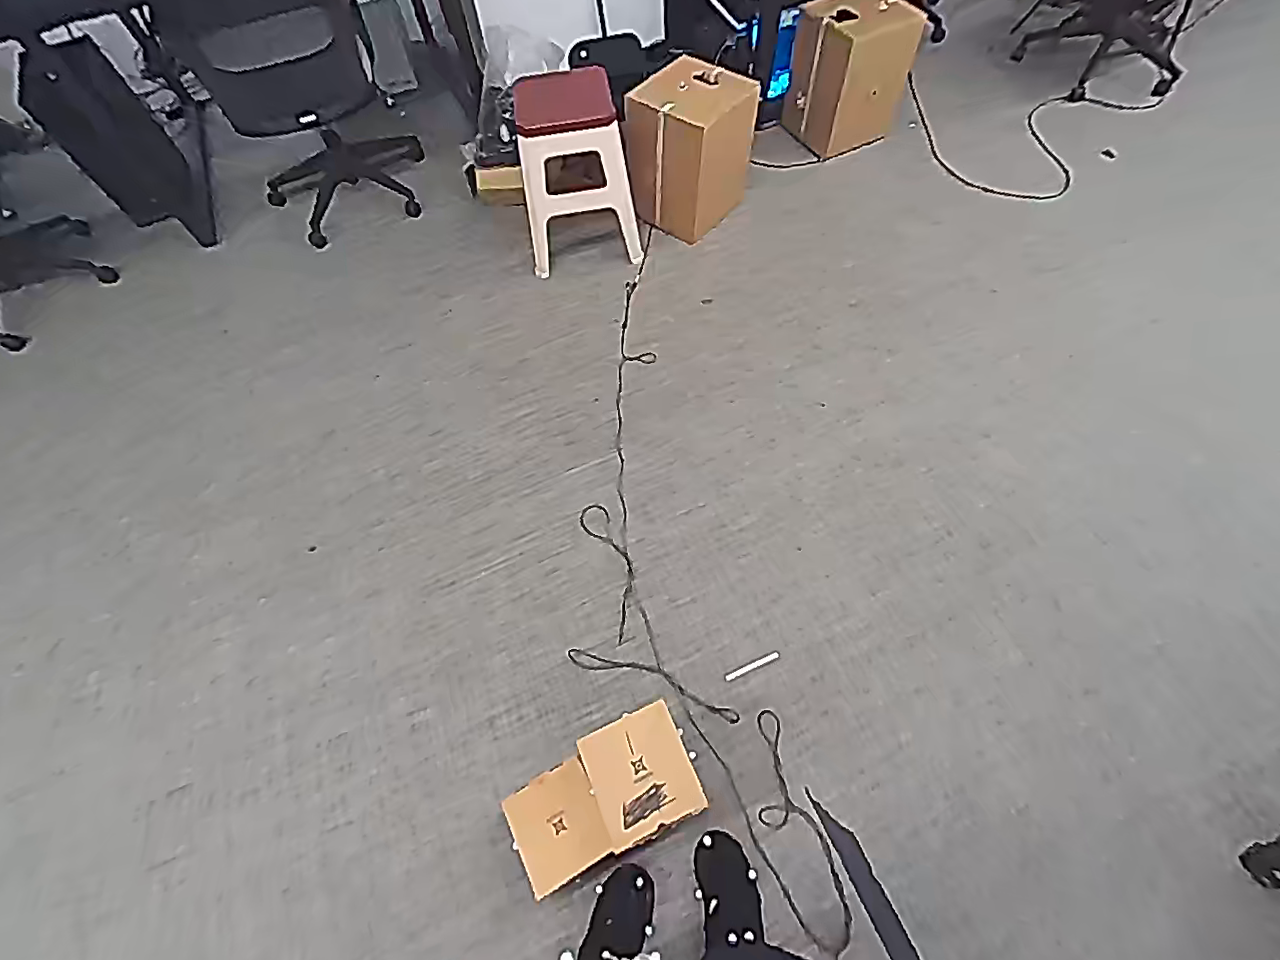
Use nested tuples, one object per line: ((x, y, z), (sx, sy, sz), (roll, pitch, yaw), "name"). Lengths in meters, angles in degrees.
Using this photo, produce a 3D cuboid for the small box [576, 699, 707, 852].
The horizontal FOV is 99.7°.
((0.005, 0.507, 0.942), (0.168, 0.176, 0.179), (-23, 62, -9), "small box")
